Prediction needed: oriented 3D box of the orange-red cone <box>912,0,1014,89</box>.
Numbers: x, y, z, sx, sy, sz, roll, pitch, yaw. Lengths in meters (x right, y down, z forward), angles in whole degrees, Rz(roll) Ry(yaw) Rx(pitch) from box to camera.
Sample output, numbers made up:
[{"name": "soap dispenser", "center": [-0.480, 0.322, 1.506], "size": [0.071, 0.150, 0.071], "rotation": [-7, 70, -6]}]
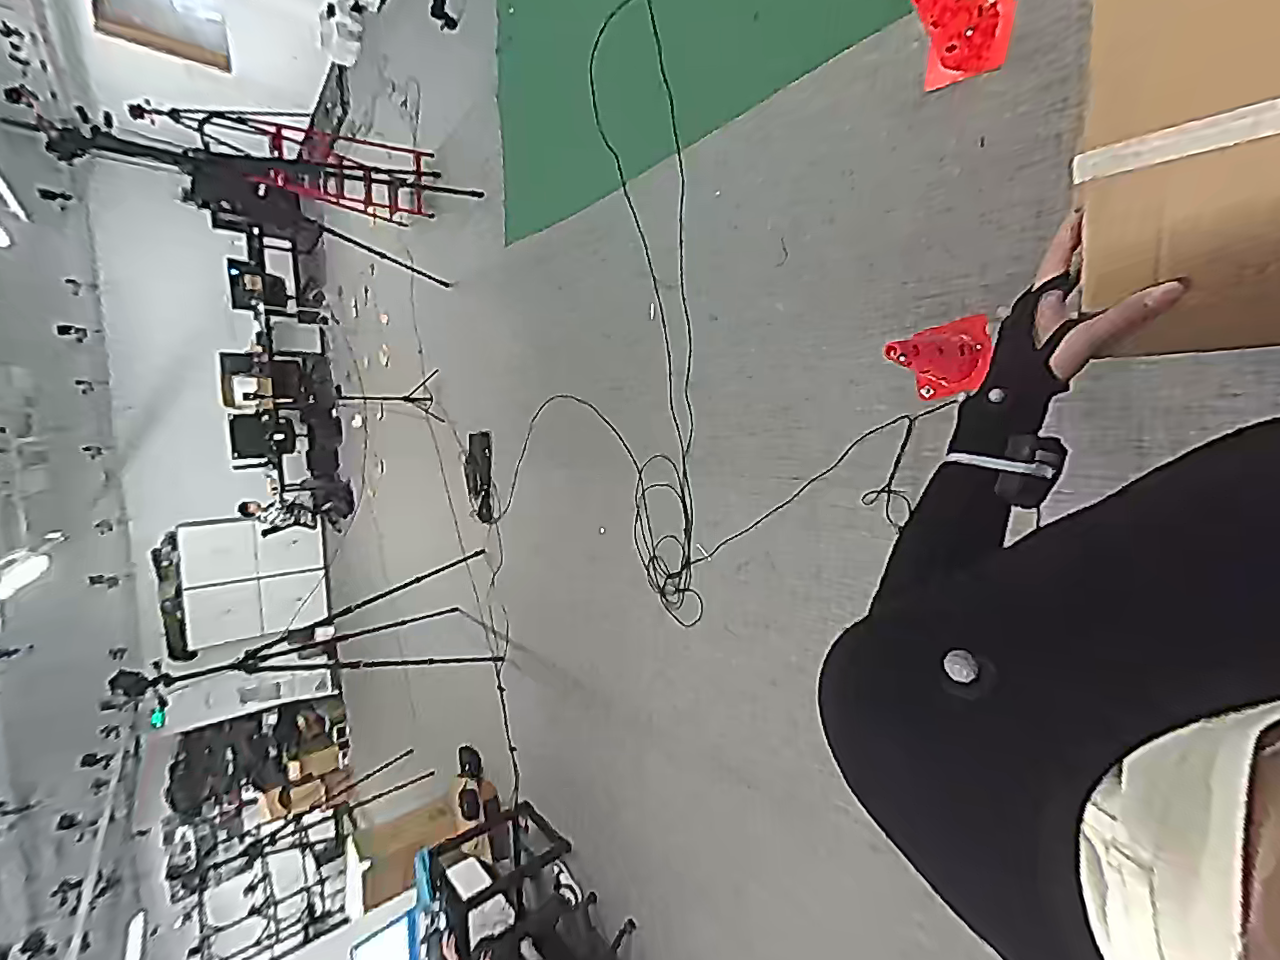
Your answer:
[{"name": "orange-red cone", "center": [0.724, -1.146, 1.307], "size": [0.199, 0.360, 0.198], "rotation": [16, 106, 50]}]

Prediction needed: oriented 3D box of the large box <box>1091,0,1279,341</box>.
[{"name": "large box", "center": [0.607, -0.306, 0.403], "size": [0.408, 0.320, 0.320], "rotation": [4, 112, 43]}]
